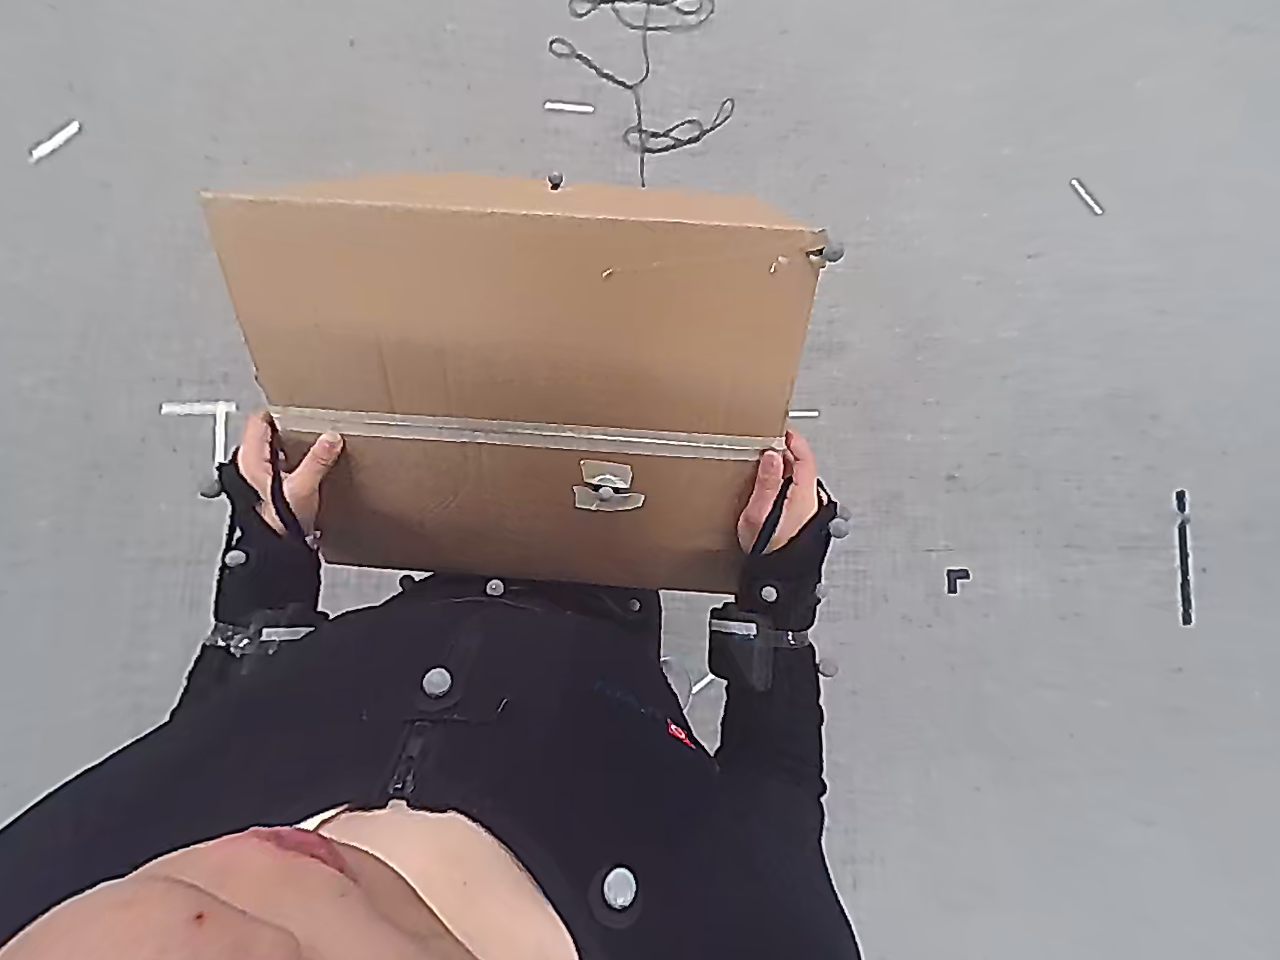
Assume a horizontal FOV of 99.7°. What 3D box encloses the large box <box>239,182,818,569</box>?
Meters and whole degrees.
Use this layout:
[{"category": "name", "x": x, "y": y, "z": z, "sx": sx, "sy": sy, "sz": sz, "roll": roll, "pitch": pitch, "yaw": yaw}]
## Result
[{"category": "large box", "x": -0.078, "y": -0.129, "z": 0.568, "sx": 0.408, "sy": 0.320, "sz": 0.320, "roll": 3, "pitch": 123, "yaw": 1}]
